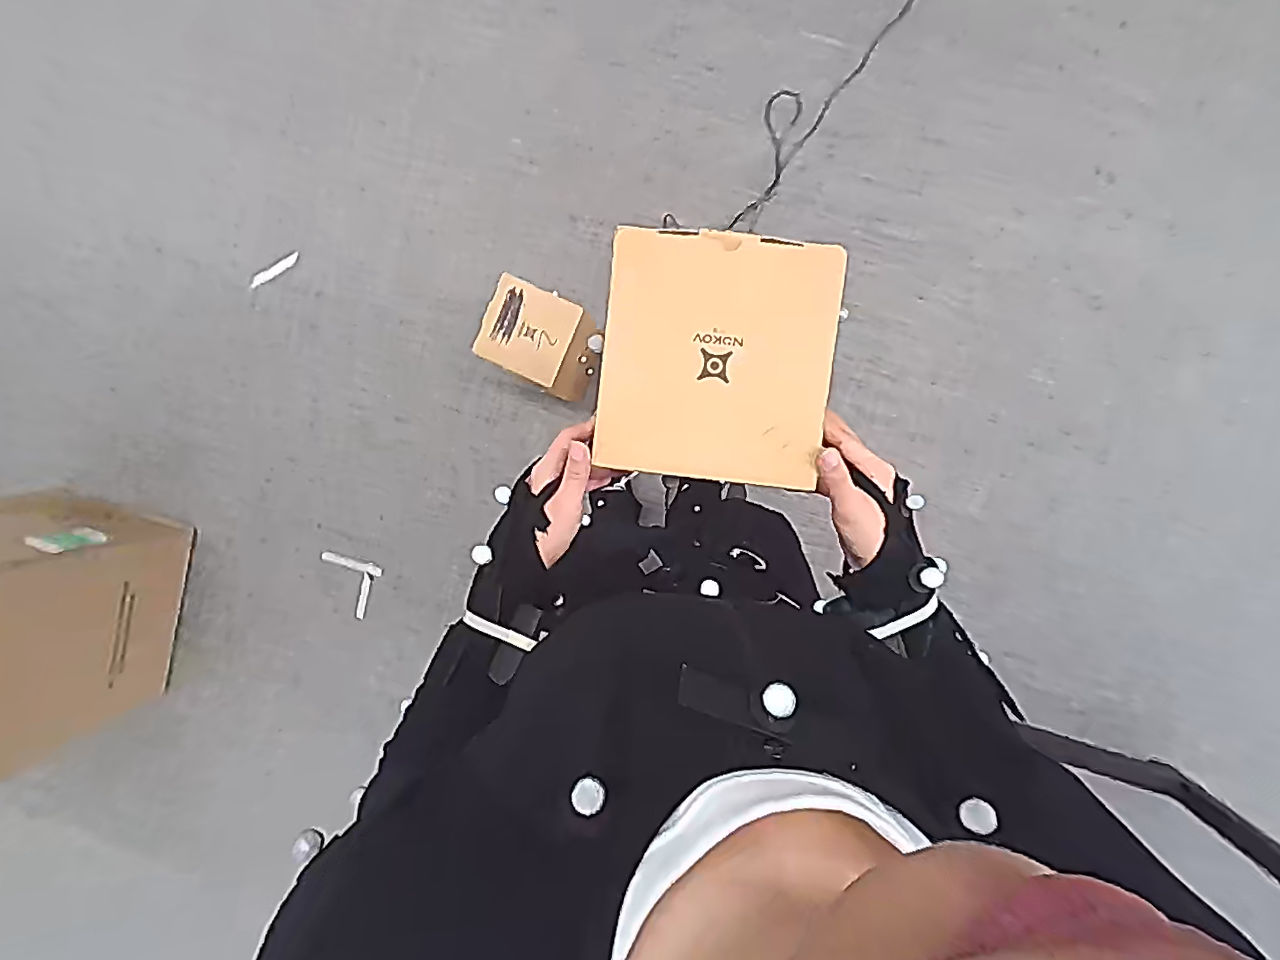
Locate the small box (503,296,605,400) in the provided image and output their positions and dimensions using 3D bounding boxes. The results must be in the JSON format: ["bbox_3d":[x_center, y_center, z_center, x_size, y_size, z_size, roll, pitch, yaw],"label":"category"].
[{"bbox_3d":[-0.191,-0.300,1.265,0.168,0.176,0.179,26,99,2],"label":"small box"}]

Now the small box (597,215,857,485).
[{"bbox_3d":[0.064,-0.095,0.458,0.168,0.176,0.179,6,93,3],"label":"small box"}]
